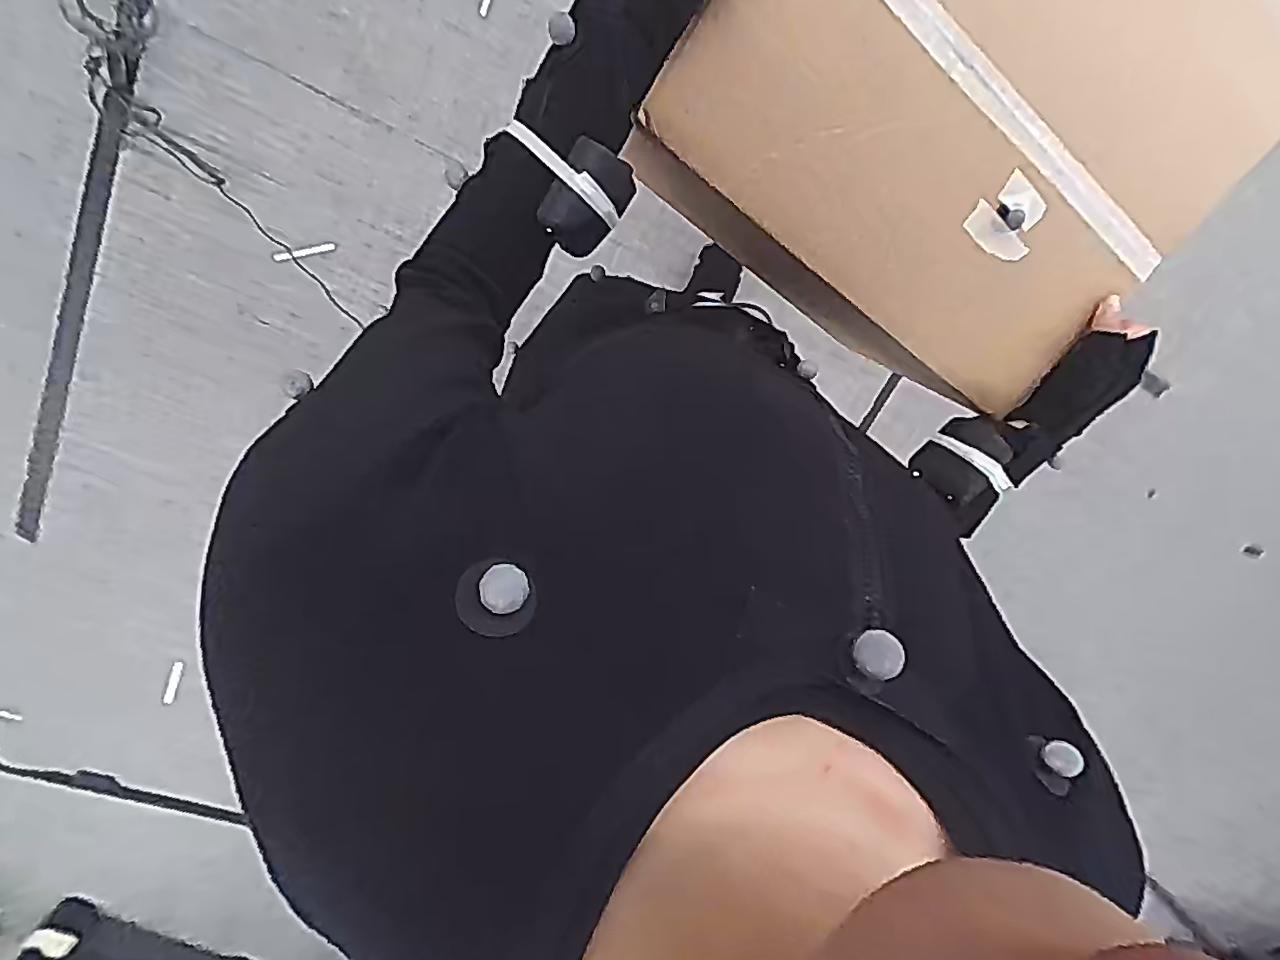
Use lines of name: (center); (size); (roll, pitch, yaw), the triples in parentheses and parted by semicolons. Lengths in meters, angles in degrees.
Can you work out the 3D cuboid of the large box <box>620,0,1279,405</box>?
large box: (0.234, -0.340, 0.523); (0.408, 0.320, 0.320); (30, 111, -20)
